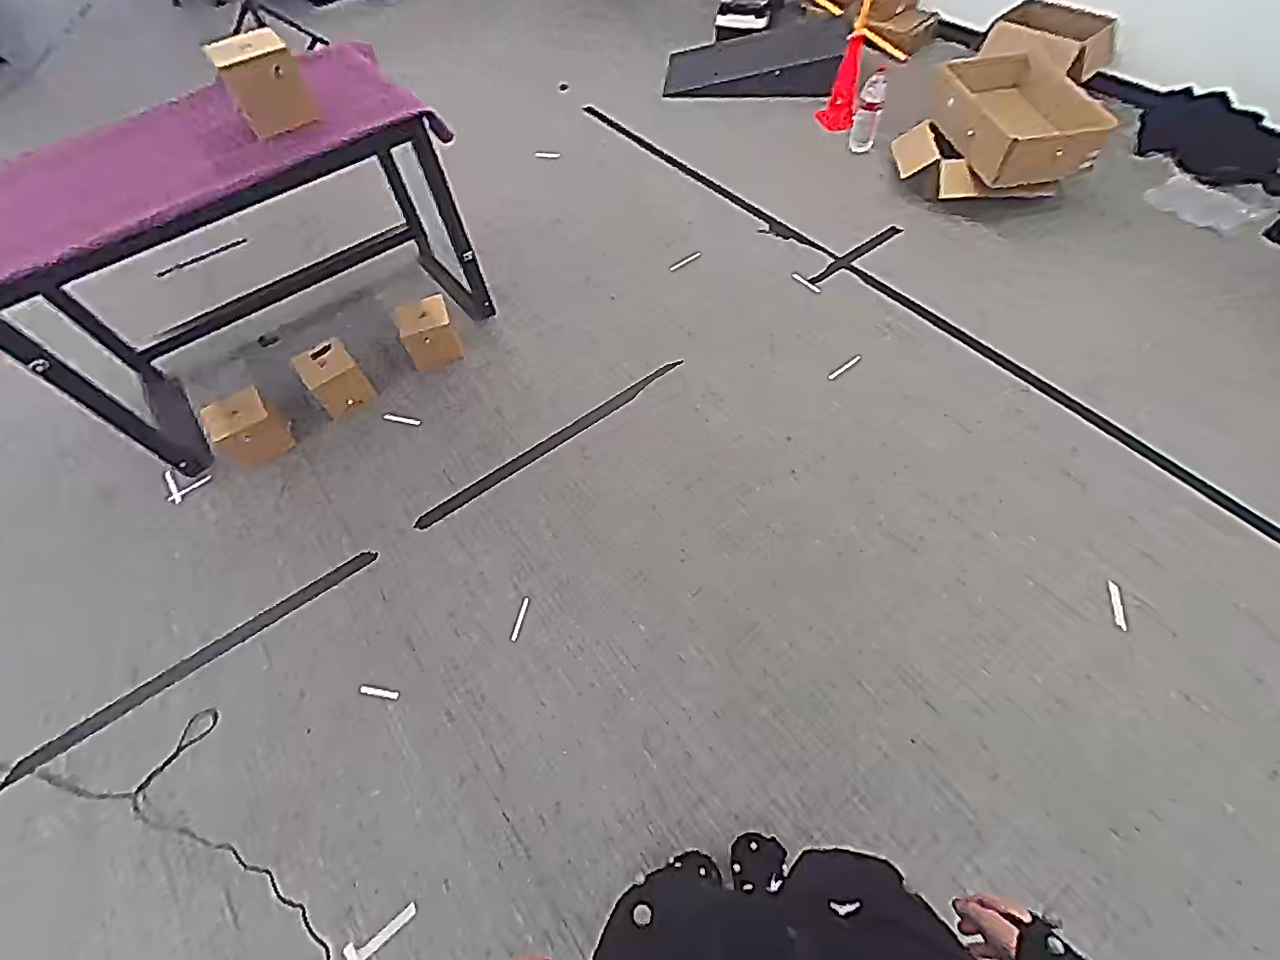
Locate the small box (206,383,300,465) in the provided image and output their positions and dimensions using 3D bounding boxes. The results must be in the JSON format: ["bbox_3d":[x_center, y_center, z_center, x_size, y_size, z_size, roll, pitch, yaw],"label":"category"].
[{"bbox_3d":[-1.274,-0.179,1.787,0.179,0.176,0.168,-32,63,-15],"label":"small box"}]

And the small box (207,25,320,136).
[{"bbox_3d":[-0.986,-1.056,1.435,0.179,0.176,0.168,-33,62,-14],"label":"small box"}]

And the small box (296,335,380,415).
[{"bbox_3d":[-1.044,-0.360,1.876,0.168,0.176,0.179,-36,64,-16],"label":"small box"}]

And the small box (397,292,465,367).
[{"bbox_3d":[-0.752,-0.544,1.967,0.179,0.176,0.168,-20,61,-6],"label":"small box"}]
